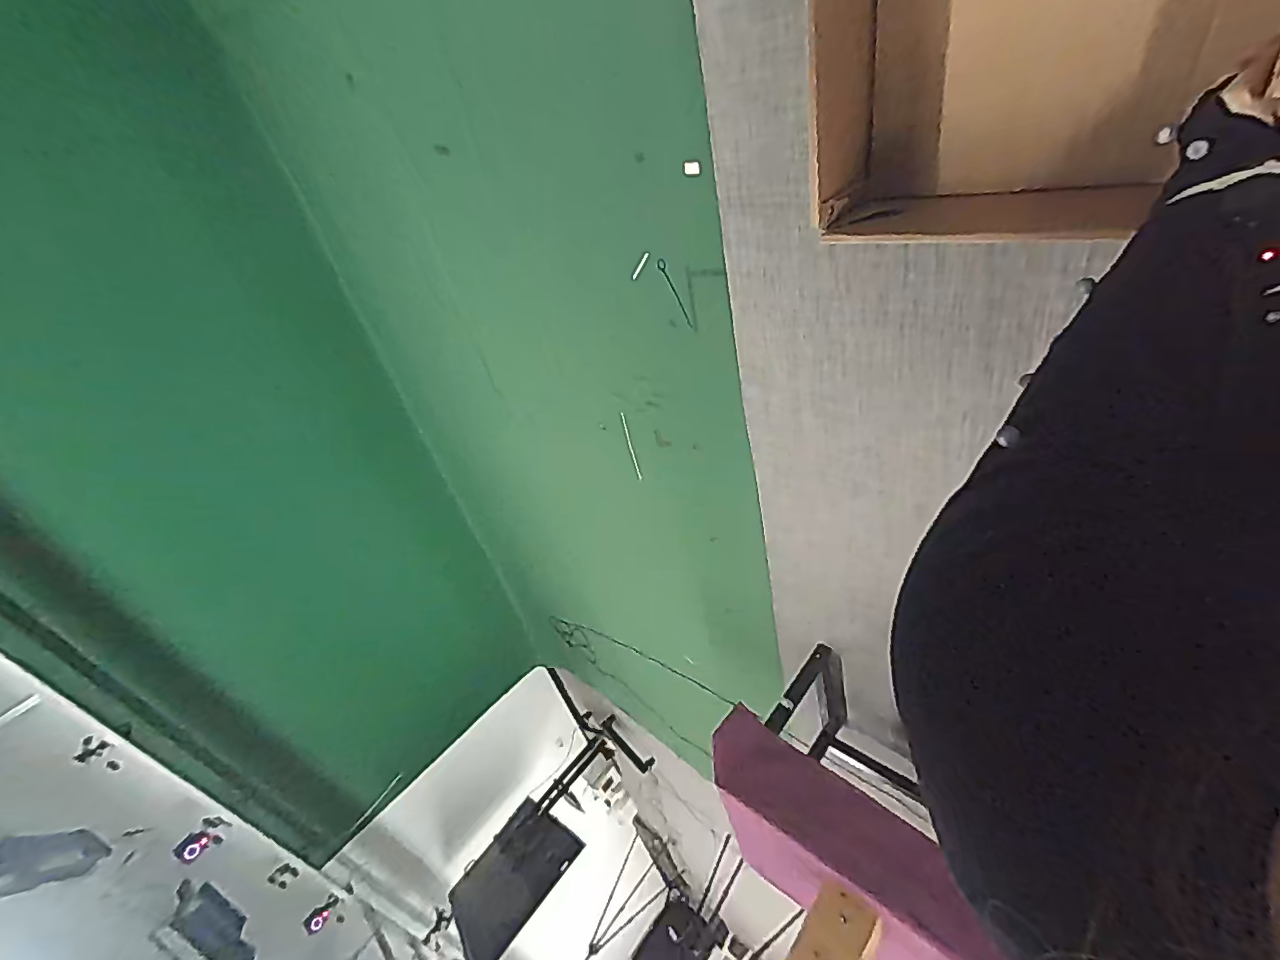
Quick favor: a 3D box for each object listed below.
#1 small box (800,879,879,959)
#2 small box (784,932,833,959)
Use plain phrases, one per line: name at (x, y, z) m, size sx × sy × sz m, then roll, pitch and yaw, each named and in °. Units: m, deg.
small box at (0.594, 1.342, 1.603) m, size 0.168 × 0.176 × 0.179 m, roll 19°, pitch 137°, yaw 42°
small box at (0.486, 1.434, 1.523) m, size 0.168 × 0.176 × 0.179 m, roll 21°, pitch 138°, yaw 41°
